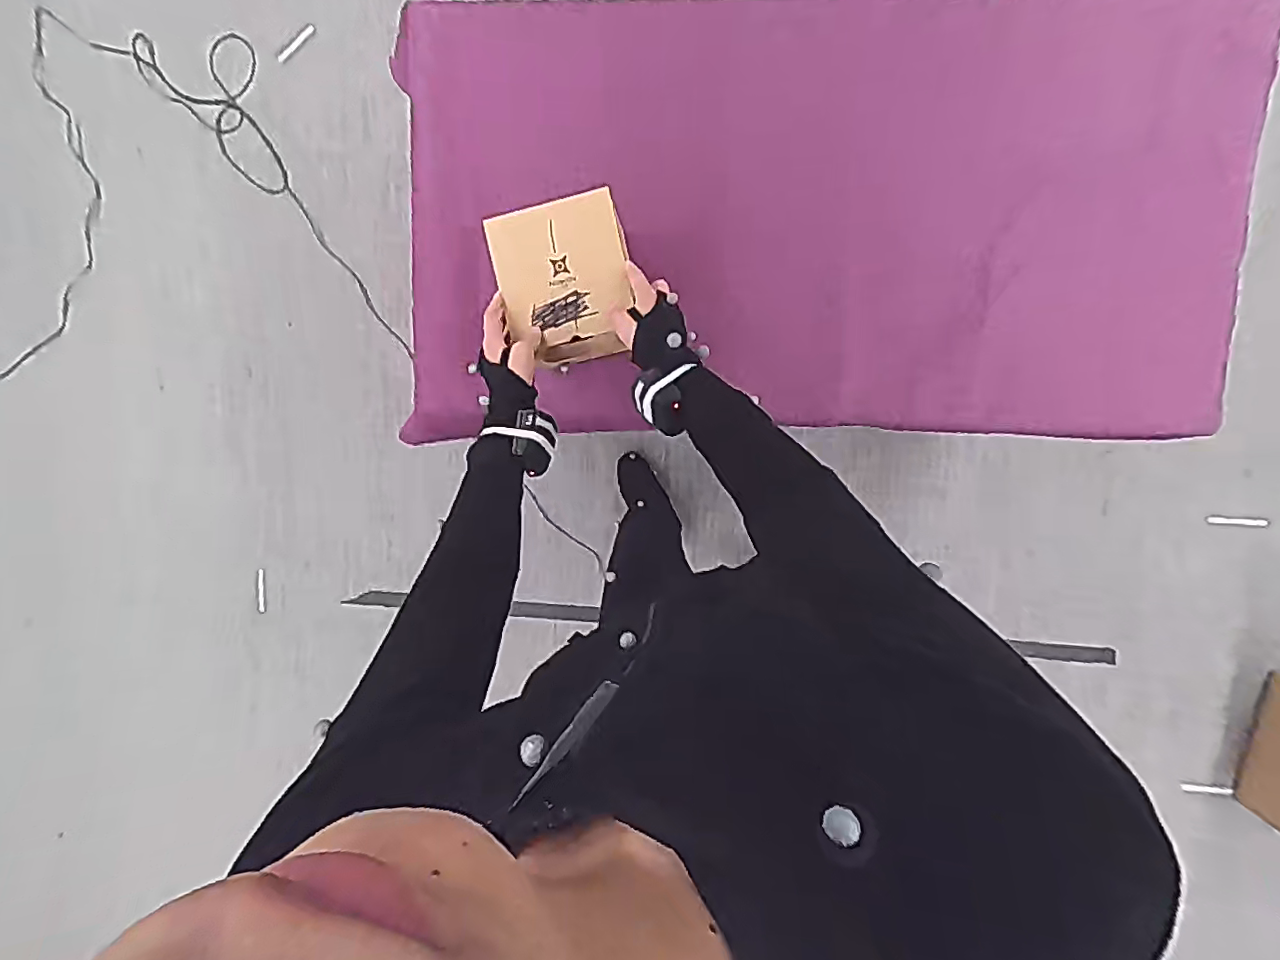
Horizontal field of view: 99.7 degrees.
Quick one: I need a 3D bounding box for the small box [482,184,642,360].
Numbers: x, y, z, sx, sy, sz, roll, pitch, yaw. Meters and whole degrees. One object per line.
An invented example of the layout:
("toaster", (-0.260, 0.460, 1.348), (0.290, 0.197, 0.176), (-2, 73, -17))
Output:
("small box", (-0.096, -0.272, 0.755), (0.168, 0.176, 0.179), (-12, 94, 5))
